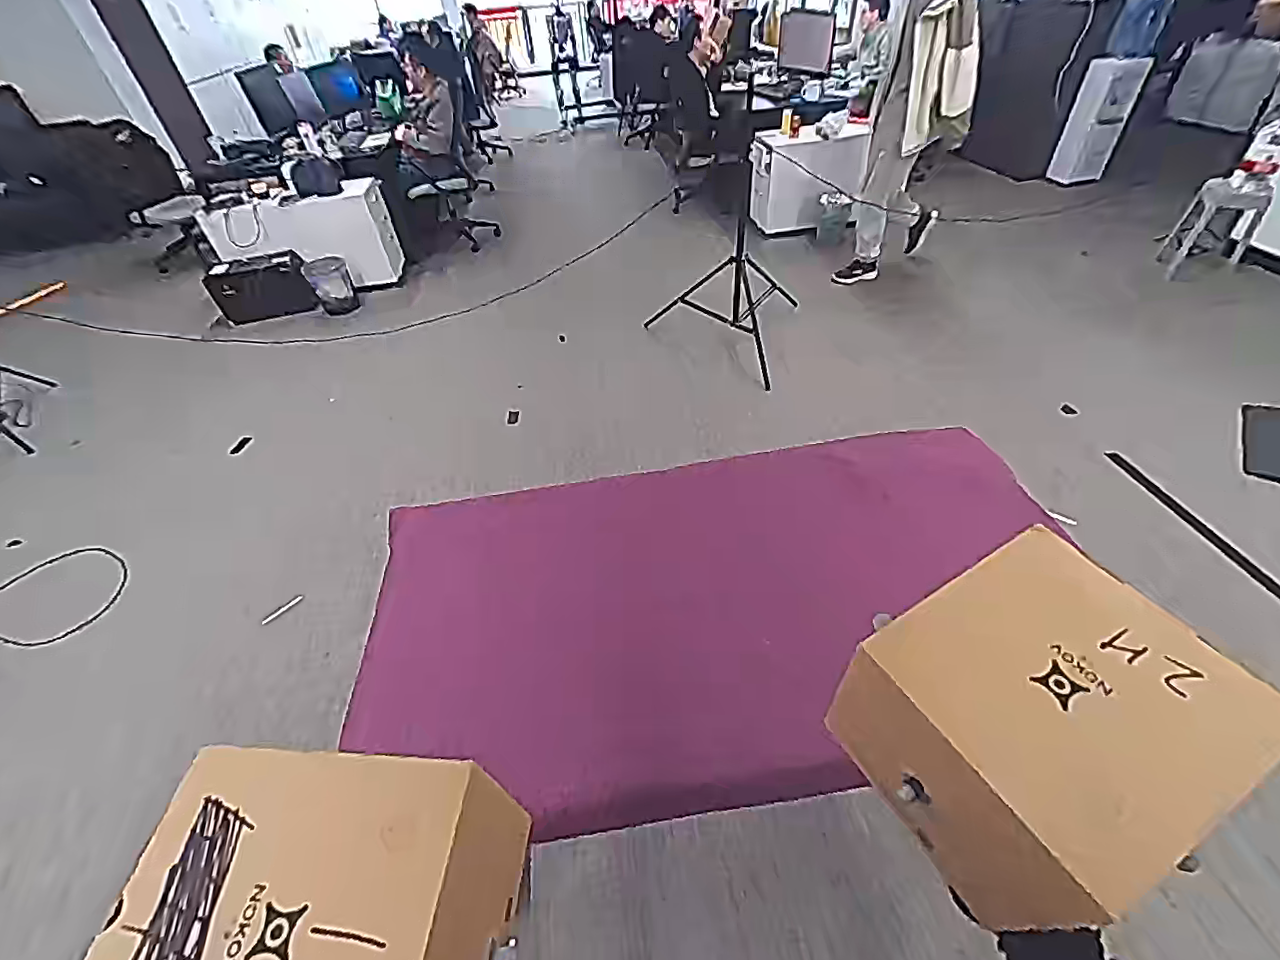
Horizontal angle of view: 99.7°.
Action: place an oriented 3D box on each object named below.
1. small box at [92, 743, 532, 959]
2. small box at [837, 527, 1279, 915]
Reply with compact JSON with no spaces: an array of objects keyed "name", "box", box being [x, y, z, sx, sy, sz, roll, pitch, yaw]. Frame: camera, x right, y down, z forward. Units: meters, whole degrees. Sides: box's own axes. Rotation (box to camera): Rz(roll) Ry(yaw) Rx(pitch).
[{"name":"small box","box":[-0.182,0.279,0.334,0.179,0.176,0.168,1,49,5]},{"name":"small box","box":[0.264,0.173,0.387,0.179,0.176,0.168,-27,52,-15]}]
